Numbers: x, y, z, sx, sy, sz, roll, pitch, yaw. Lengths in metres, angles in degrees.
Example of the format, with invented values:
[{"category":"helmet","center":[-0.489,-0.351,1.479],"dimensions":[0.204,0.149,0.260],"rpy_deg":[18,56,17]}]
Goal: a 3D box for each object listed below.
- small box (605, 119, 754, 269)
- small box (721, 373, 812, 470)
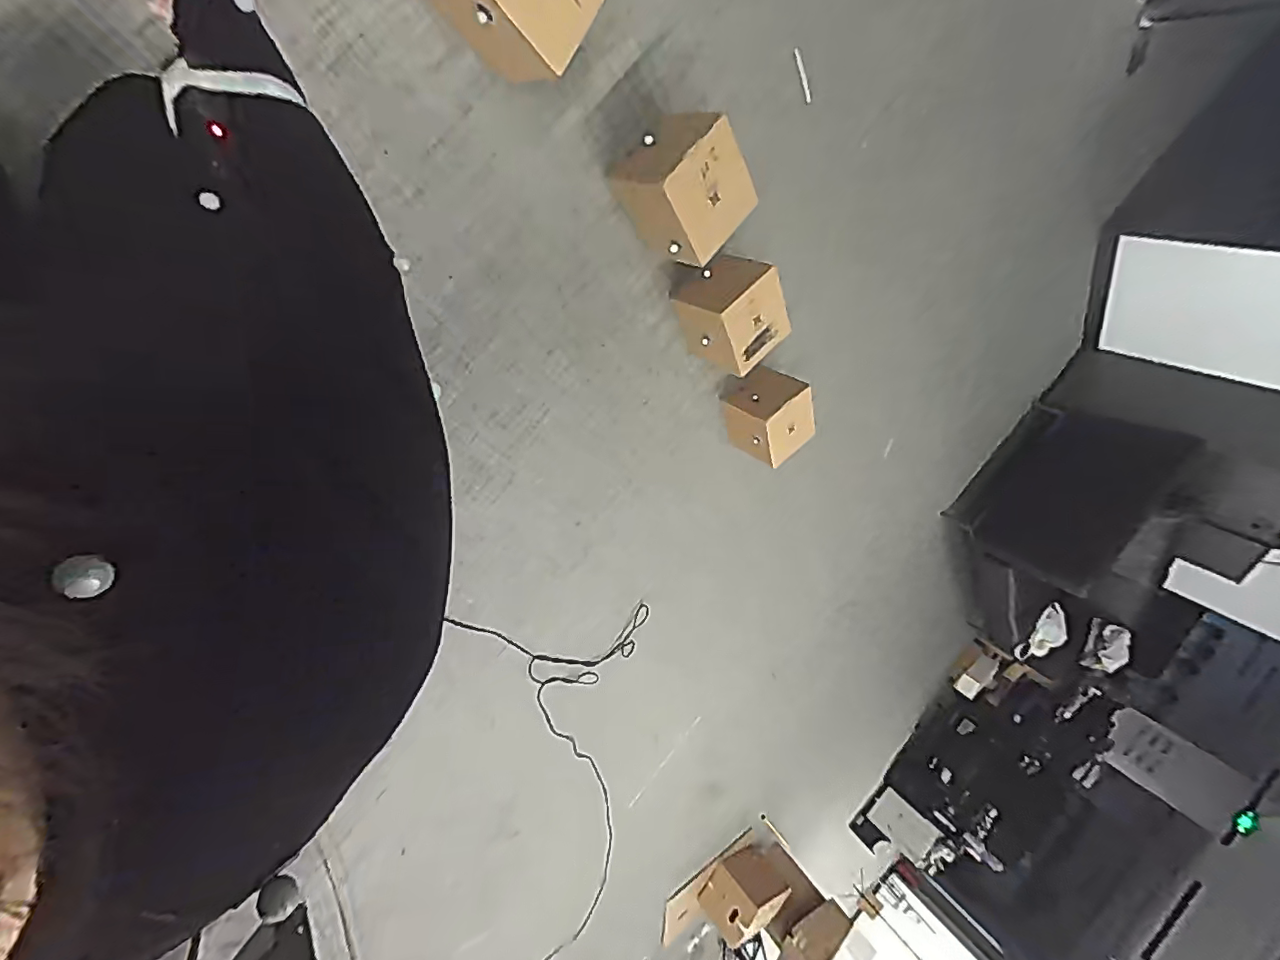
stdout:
[{"category":"small box","center":[0.071,-0.520,0.982],"dimensions":[0.168,0.176,0.179],"rpy_deg":[-50,137,-5]},{"category":"small box","center":[0.336,-0.165,1.445],"dimensions":[0.168,0.176,0.179],"rpy_deg":[-38,136,-15]}]
